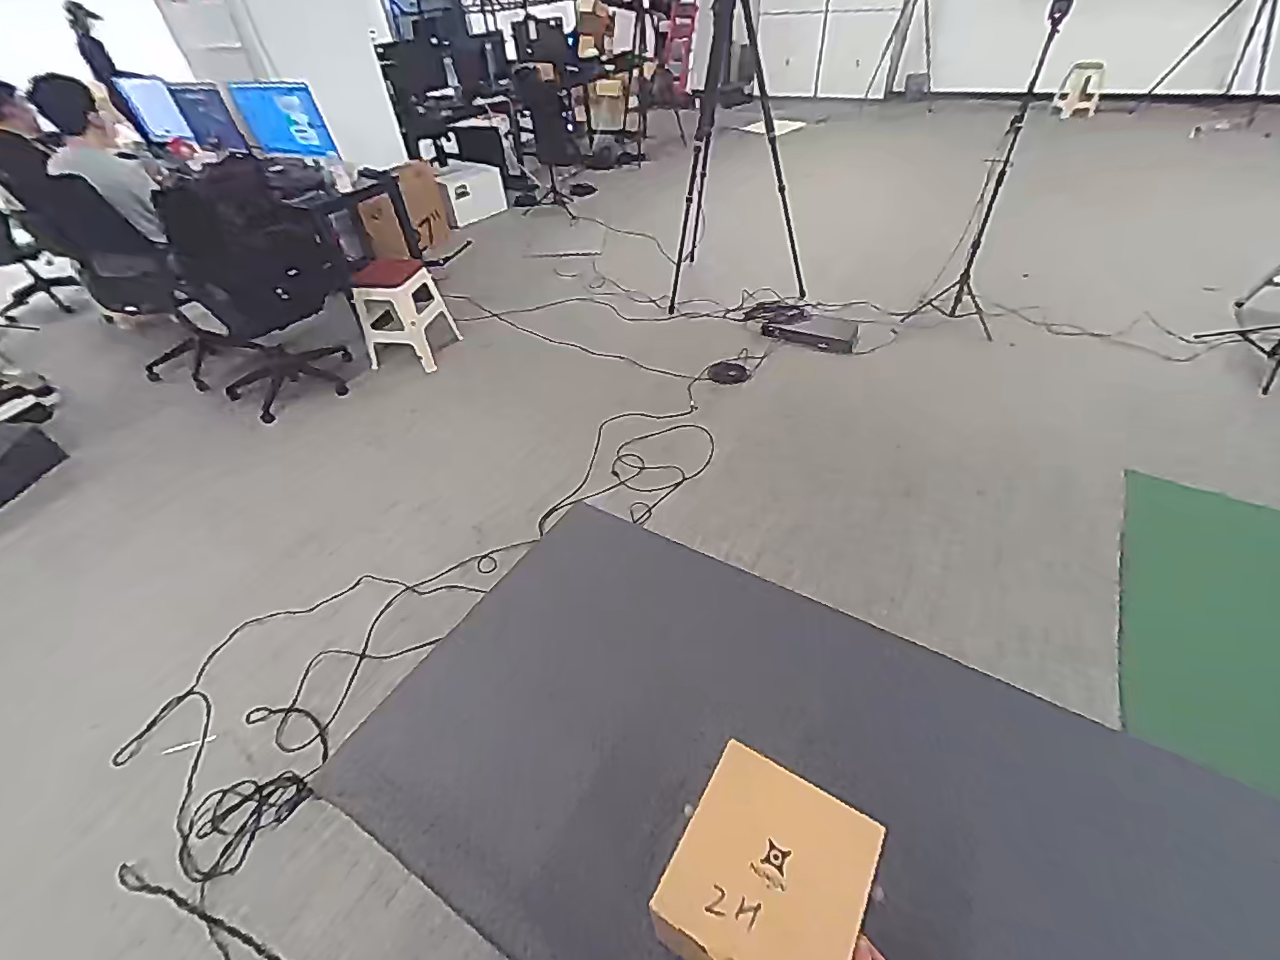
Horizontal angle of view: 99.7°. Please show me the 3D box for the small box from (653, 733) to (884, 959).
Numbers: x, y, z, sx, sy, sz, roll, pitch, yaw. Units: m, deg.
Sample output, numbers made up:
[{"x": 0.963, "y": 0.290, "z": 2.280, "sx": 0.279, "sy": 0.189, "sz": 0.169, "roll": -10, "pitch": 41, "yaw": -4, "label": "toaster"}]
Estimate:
[{"x": 0.126, "y": 0.409, "z": 0.555, "sx": 0.168, "sy": 0.176, "sz": 0.179, "roll": 21, "pitch": 49, "yaw": 26, "label": "small box"}]
